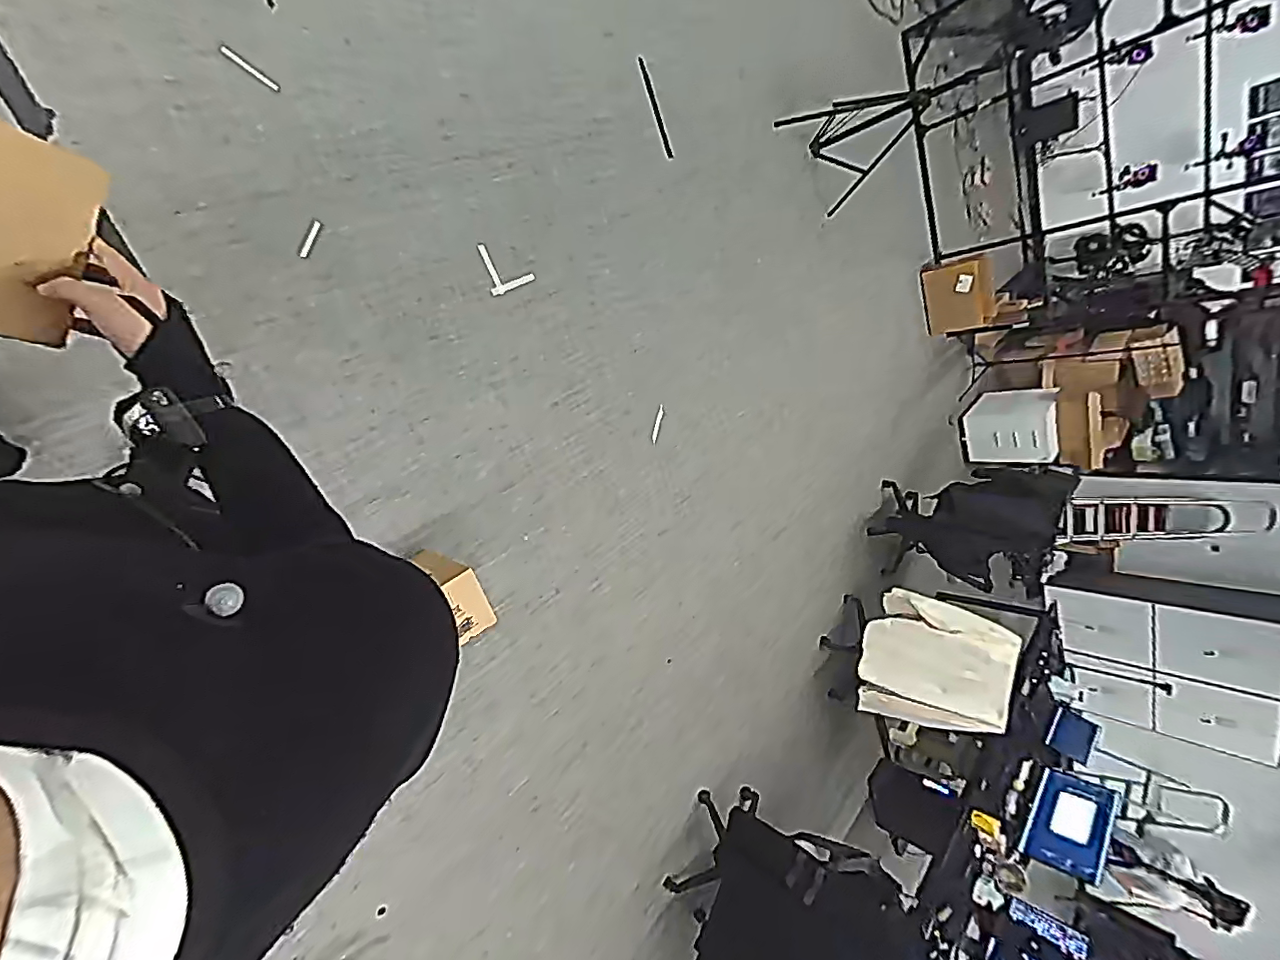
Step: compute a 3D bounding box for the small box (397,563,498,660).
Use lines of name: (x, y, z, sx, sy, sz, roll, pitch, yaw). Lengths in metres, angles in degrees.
small box: (-0.517, 0.343, 1.447, 0.168, 0.176, 0.179, -34, 112, -35)

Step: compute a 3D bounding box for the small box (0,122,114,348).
small box: (-0.598, -0.221, 0.439, 0.179, 0.176, 0.168, 15, 89, -66)
